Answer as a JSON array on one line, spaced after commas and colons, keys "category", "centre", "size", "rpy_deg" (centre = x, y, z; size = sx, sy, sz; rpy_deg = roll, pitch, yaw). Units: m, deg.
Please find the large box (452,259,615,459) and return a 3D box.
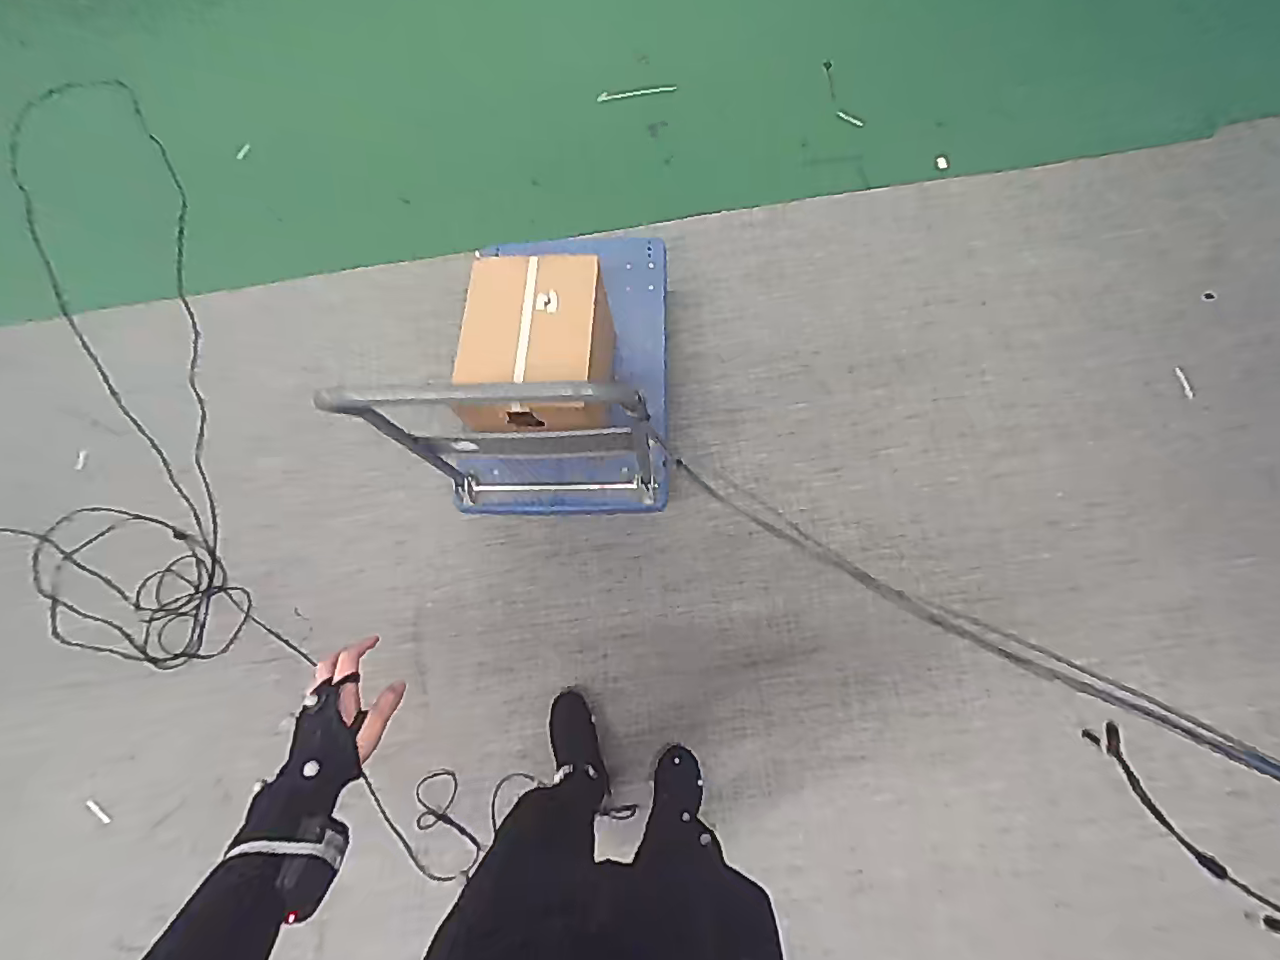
[{"category": "large box", "centre": [-0.243, -0.289, 1.374], "size": [0.320, 0.320, 0.408], "rpy_deg": [2, 71, 5]}]
